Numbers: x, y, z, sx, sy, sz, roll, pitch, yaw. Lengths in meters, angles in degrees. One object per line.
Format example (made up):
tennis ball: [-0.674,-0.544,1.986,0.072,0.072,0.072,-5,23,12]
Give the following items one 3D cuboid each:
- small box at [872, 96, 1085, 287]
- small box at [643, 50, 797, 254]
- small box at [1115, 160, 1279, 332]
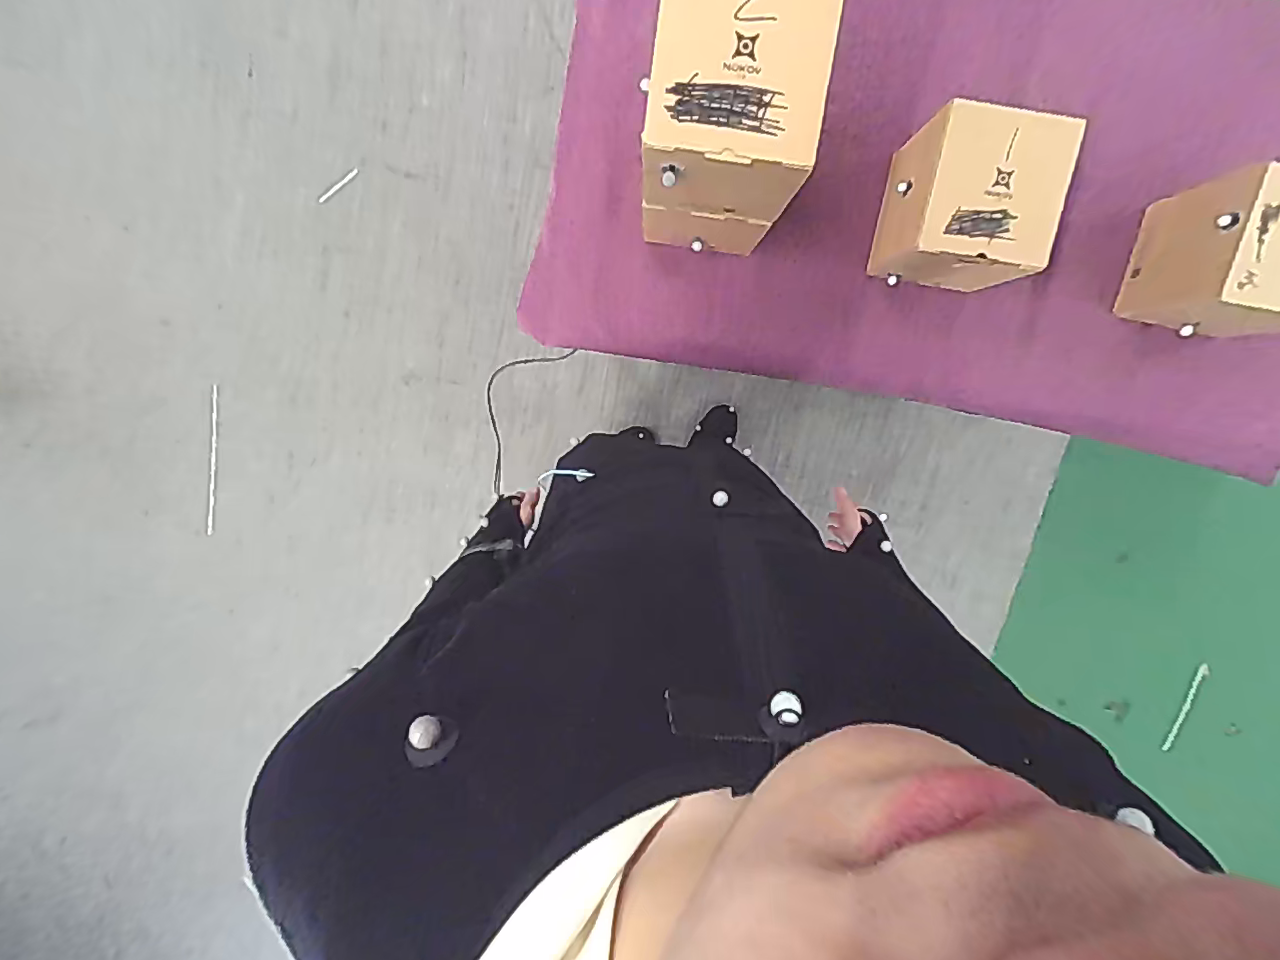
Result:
small box: [0.439,-0.374,0.736,0.168,0.176,0.179,10,99,0]
small box: [0.097,-0.429,0.735,0.168,0.176,0.179,8,100,0]
small box: [0.823,-0.302,0.737,0.179,0.176,0.168,11,100,0]
